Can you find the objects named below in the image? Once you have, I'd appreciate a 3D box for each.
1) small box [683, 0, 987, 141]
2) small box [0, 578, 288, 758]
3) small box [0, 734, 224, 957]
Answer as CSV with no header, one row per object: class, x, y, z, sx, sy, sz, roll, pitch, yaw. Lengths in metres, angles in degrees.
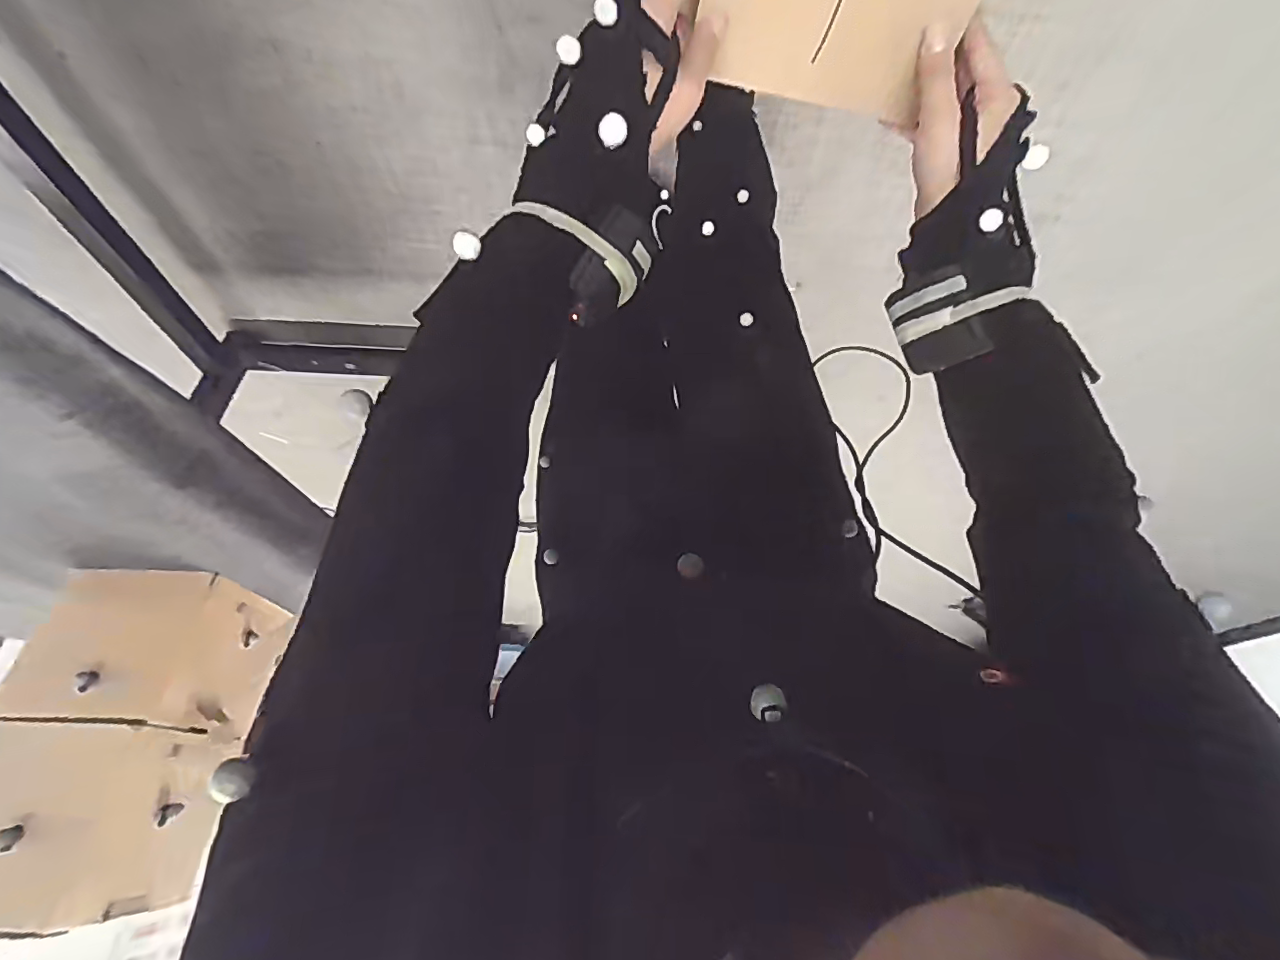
small box,0.126,-0.361,0.349,0.168,0.176,0.179,7,141,-7
small box,-0.572,0.224,0.644,0.179,0.176,0.168,1,147,1
small box,-0.575,0.359,0.552,0.179,0.176,0.168,0,147,2
